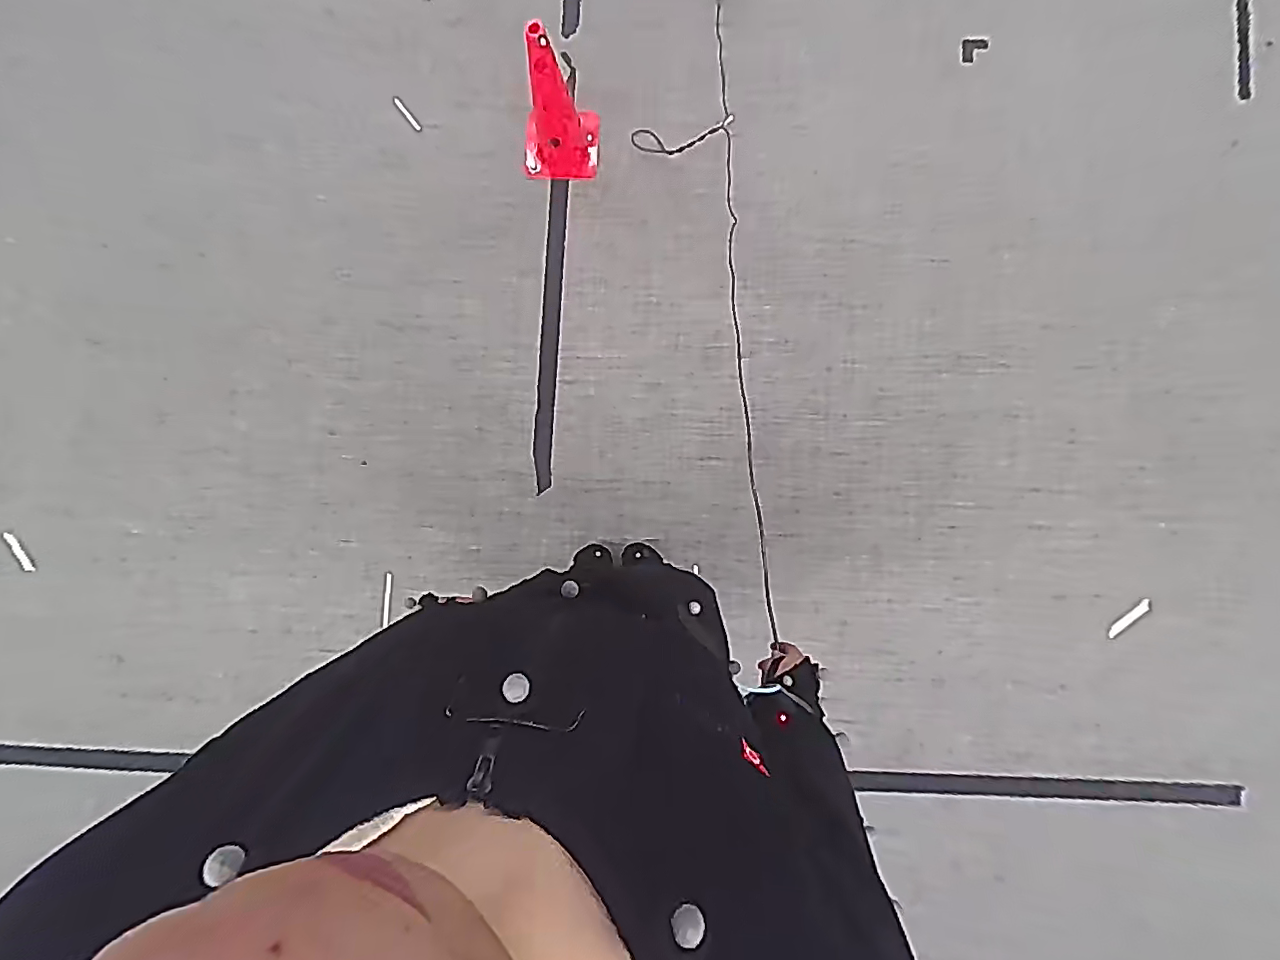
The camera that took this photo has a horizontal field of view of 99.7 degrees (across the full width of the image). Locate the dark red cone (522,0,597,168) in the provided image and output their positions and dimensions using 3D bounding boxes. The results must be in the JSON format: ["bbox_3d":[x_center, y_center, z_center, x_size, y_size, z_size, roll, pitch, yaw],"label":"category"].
[{"bbox_3d":[-0.218,-0.953,1.296,0.201,0.394,0.202,2,85,0],"label":"dark red cone"}]
